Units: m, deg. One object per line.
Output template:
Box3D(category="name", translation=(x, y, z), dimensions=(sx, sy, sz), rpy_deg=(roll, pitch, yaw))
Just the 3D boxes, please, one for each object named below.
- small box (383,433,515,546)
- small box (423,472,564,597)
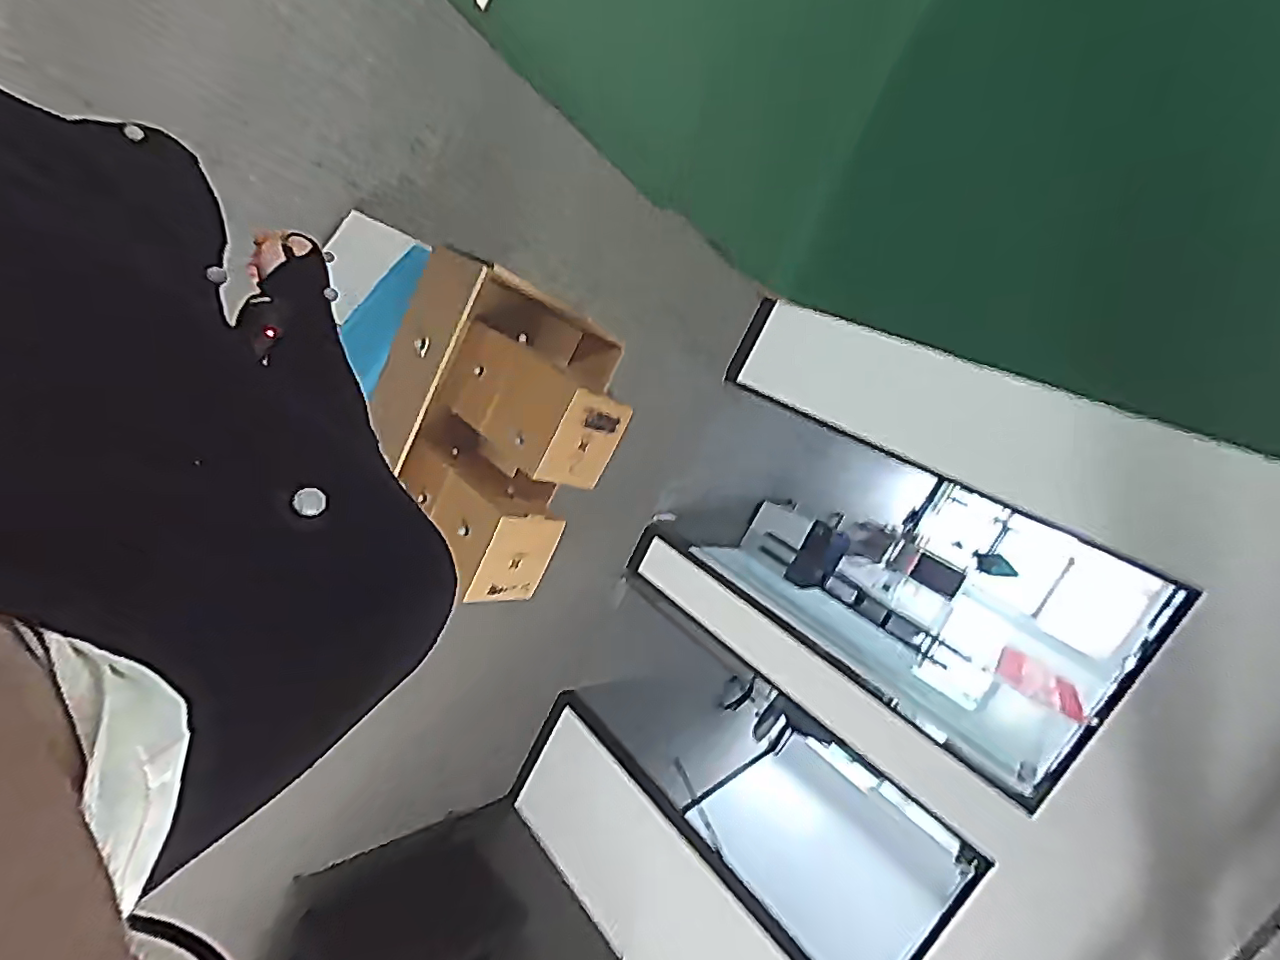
Box3D(category="small box", translation=(-0.398, 0.023, 1.118), dimensions=(0.168, 0.176, 0.179), rpy_deg=(16, 106, -56))
Box3D(category="small box", translation=(-0.283, 0.101, 1.030), dimensions=(0.168, 0.176, 0.179), rpy_deg=(13, 106, -54))
